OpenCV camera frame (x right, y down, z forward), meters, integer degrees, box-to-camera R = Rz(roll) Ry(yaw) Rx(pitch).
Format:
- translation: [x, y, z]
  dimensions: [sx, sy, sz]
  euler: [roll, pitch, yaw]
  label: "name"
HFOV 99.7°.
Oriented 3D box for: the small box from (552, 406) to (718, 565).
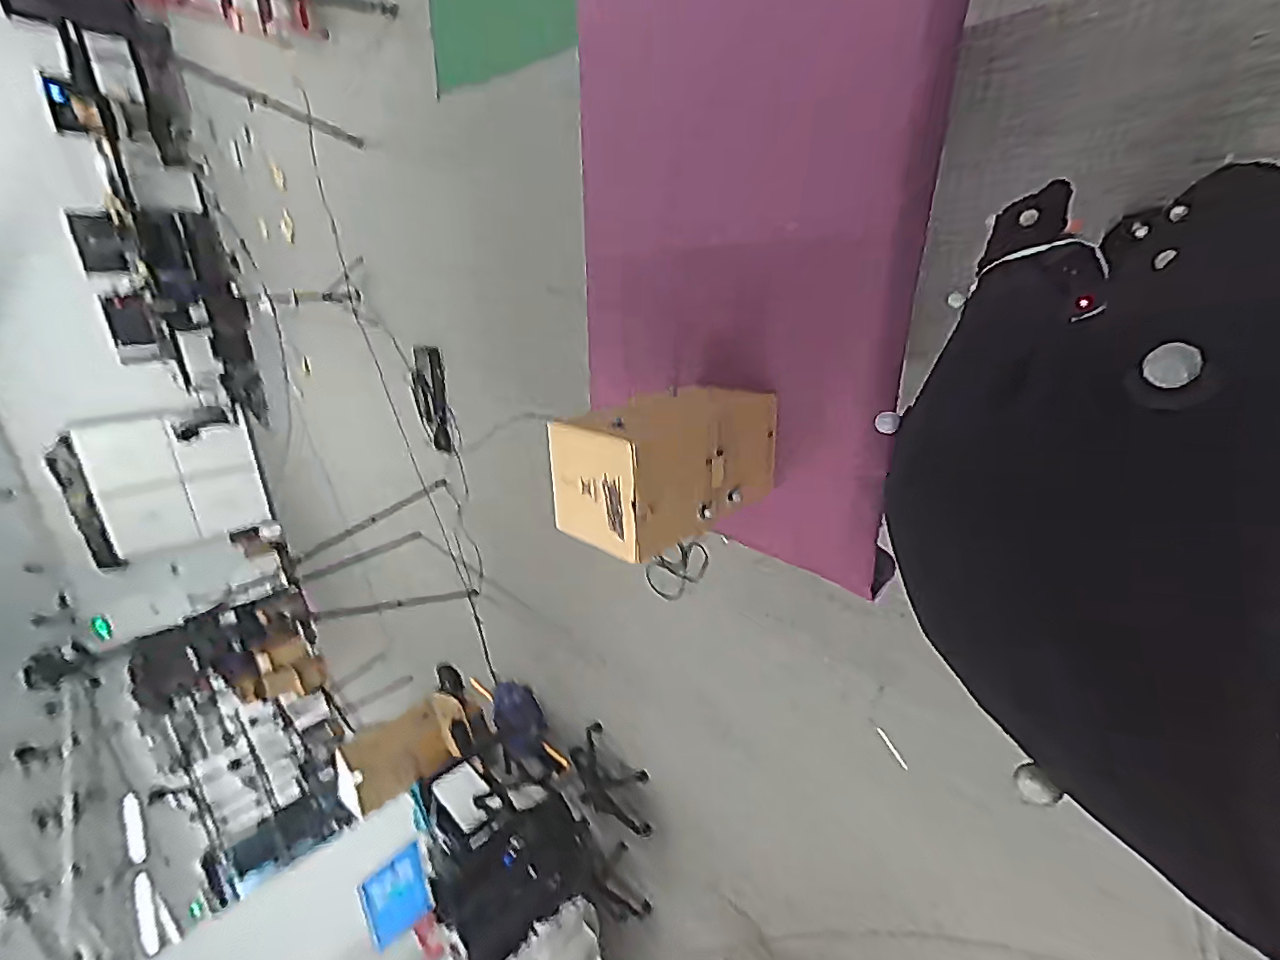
- translation: [-0.006, -0.006, 0.779]
  dimensions: [0.179, 0.176, 0.168]
  euler: [20, 117, 40]
  label: "small box"
